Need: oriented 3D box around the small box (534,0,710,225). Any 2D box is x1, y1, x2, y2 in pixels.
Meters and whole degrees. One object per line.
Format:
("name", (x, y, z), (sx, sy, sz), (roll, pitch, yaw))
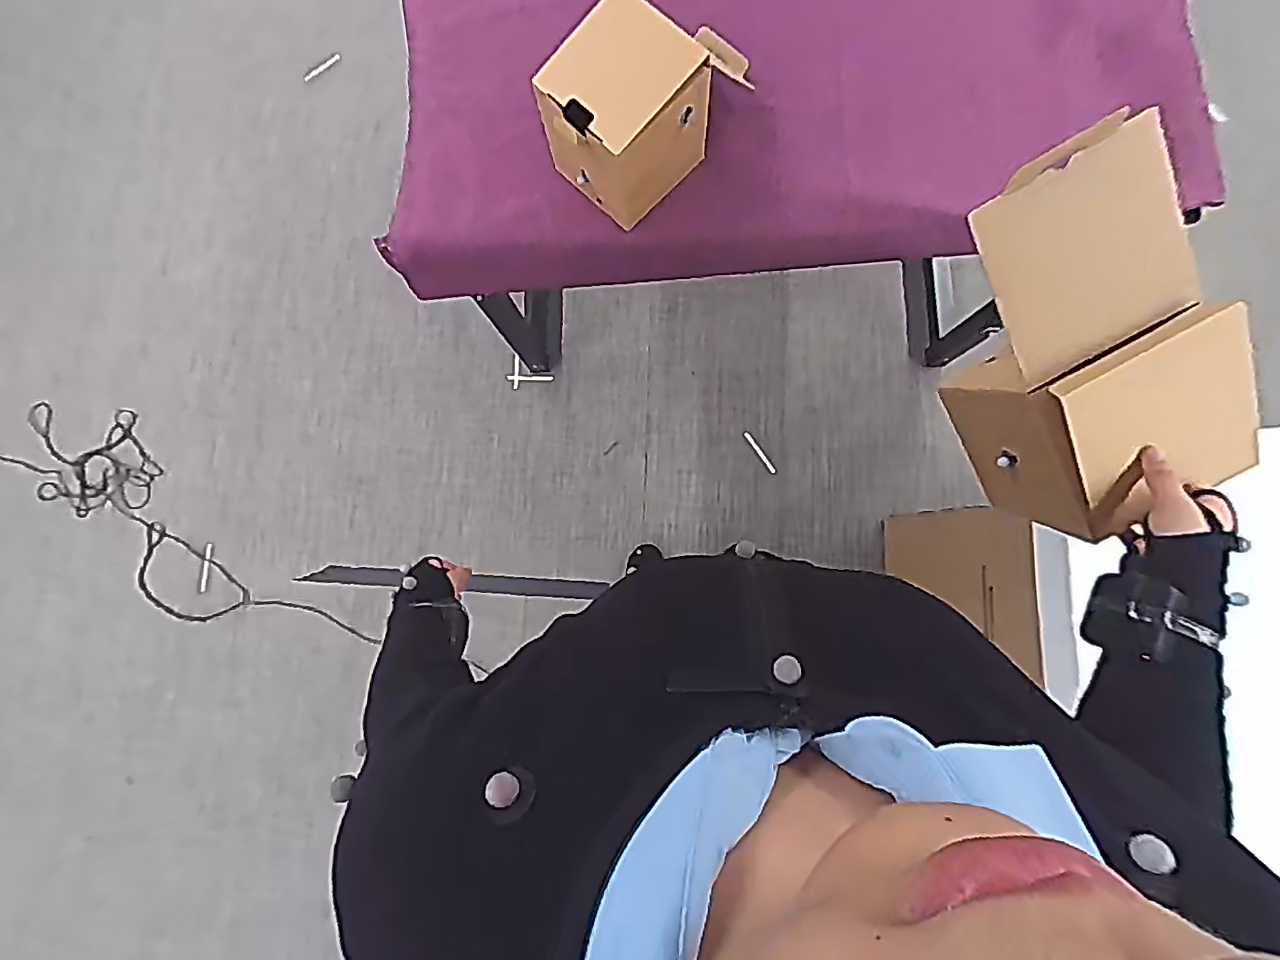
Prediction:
("small box", (-0.021, -0.519, 0.782), (0.168, 0.176, 0.179), (44, 87, 8))
